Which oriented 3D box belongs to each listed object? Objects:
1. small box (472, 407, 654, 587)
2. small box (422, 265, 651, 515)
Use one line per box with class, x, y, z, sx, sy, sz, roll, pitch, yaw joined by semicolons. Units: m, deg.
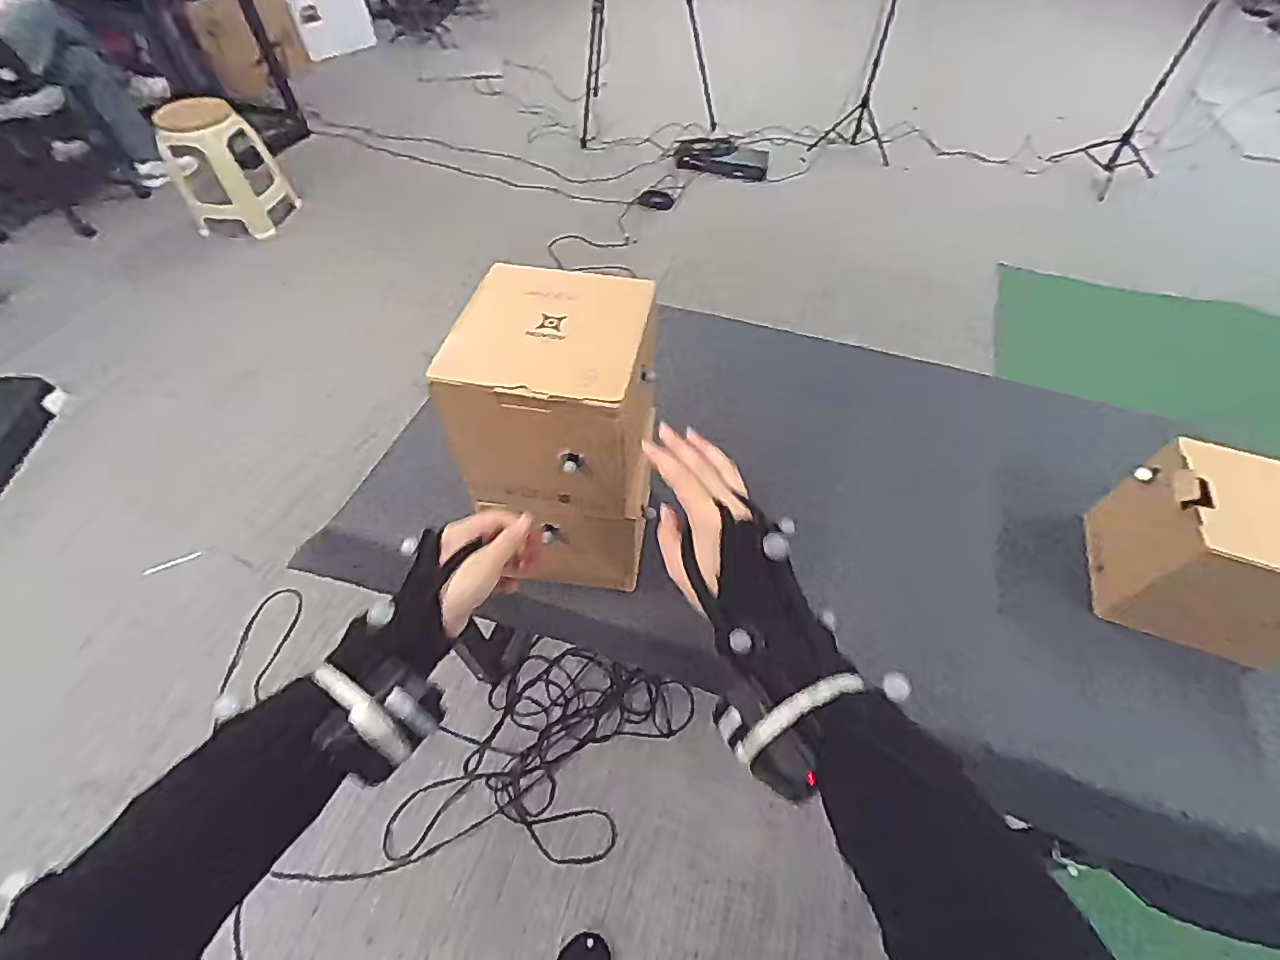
small box;-0.081;0.018;0.667;0.179;0.176;0.168;6;53;4
small box;-0.084;-0.086;0.540;0.168;0.176;0.179;9;52;5
